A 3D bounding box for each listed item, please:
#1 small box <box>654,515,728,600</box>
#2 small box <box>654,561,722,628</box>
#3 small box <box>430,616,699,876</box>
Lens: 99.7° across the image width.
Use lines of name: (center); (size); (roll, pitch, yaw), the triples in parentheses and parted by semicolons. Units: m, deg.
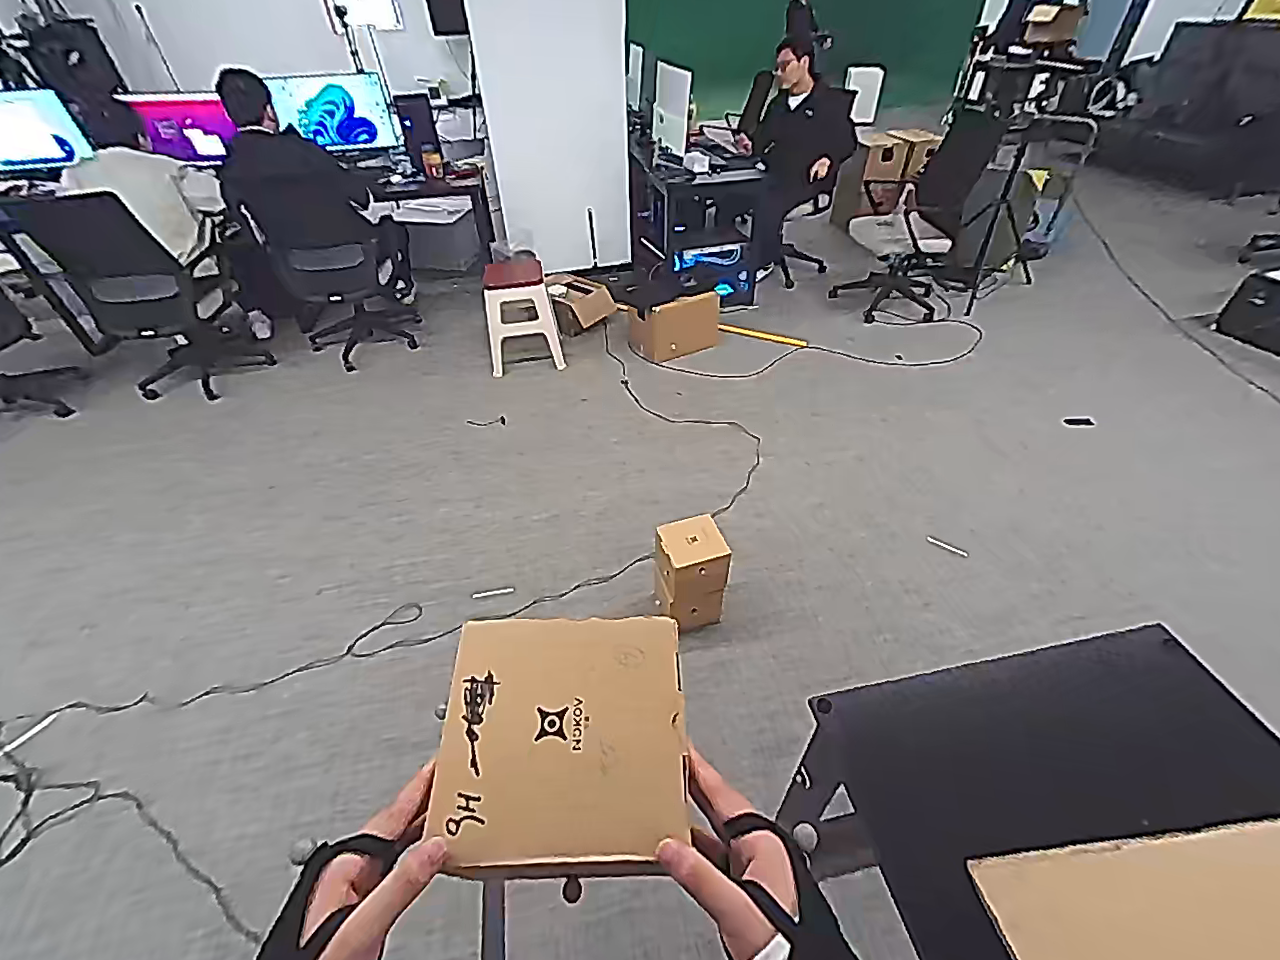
small box: (0.149, 0.235, 1.625); (0.179, 0.176, 0.168); (-13, 44, -13)
small box: (0.147, 0.357, 1.734); (0.179, 0.176, 0.168); (-12, 43, -10)
small box: (-0.053, 0.228, 0.460); (0.179, 0.176, 0.168); (0, 50, -3)
